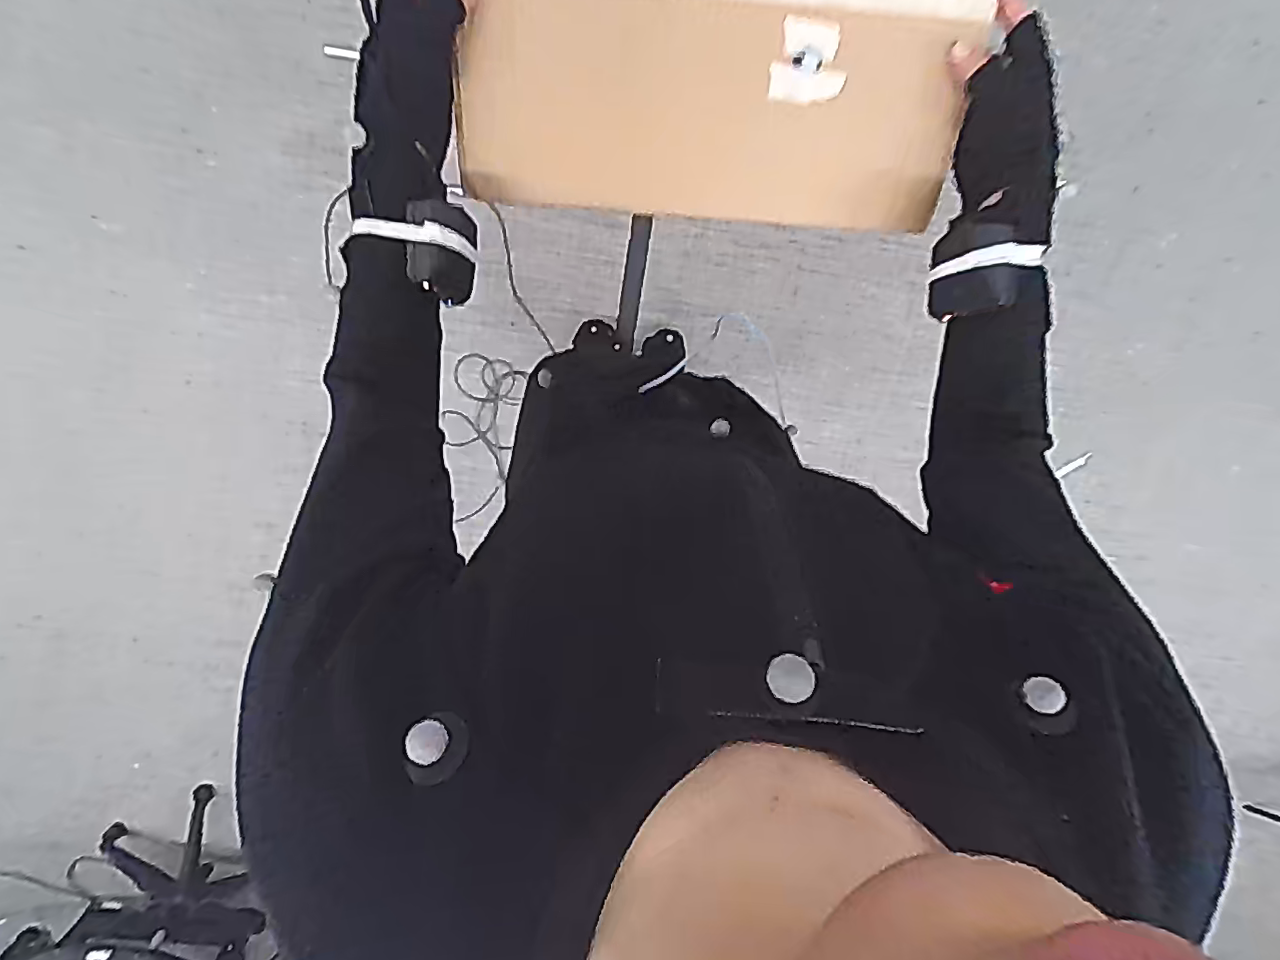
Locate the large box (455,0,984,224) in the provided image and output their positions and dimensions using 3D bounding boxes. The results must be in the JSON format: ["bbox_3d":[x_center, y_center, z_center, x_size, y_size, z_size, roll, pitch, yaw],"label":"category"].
[{"bbox_3d":[0.053,-0.440,0.524,0.408,0.320,0.320,2,120,-5],"label":"large box"}]
